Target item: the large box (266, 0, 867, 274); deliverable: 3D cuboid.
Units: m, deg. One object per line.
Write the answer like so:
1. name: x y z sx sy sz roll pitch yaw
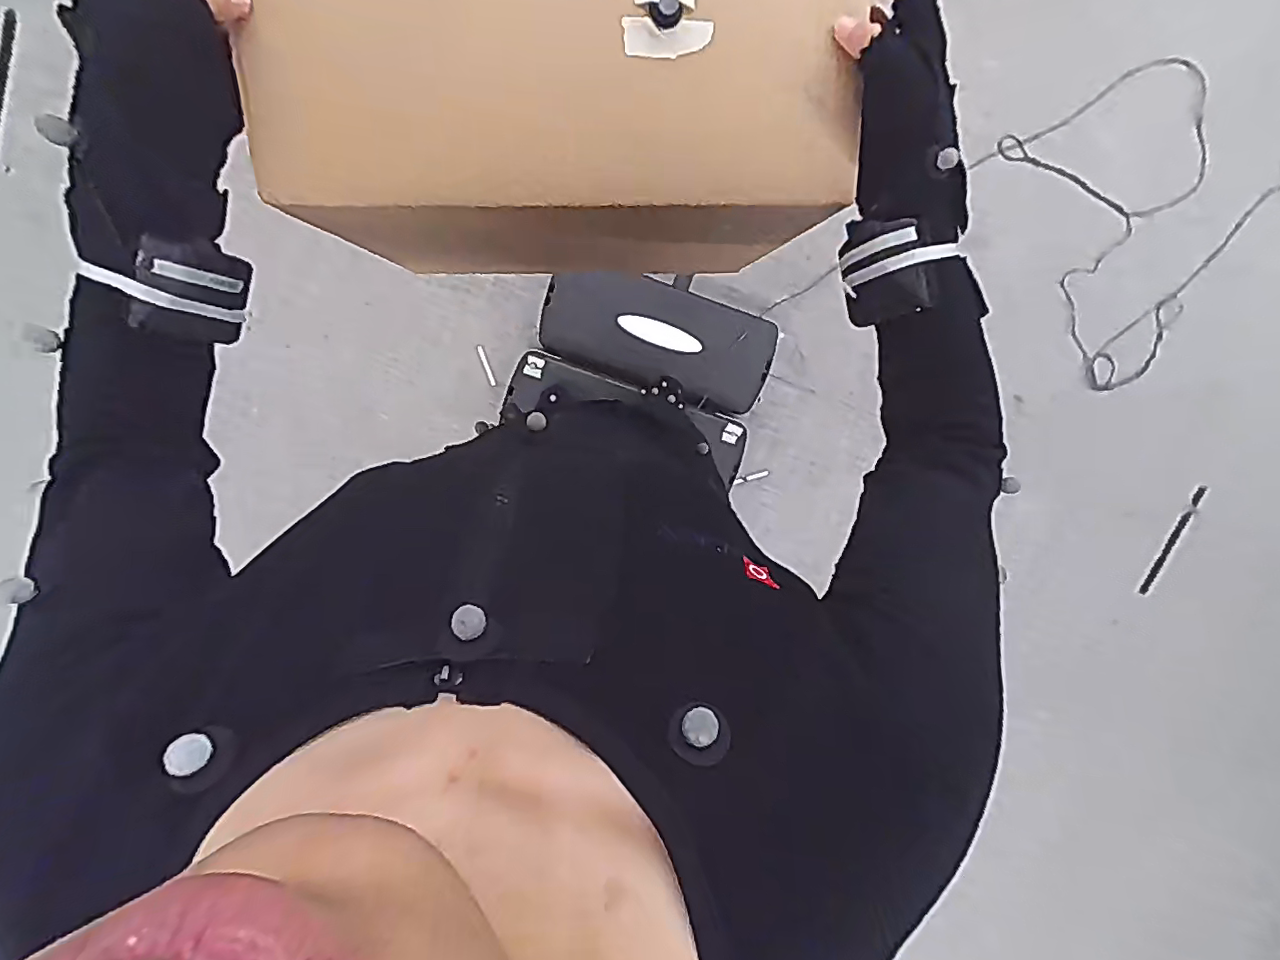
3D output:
1. large box: -0.056 -0.379 0.496 0.408 0.320 0.320 -2 103 -5

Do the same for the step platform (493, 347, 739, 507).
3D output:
1. step platform: -0.065 -0.149 1.558 0.684 0.204 0.286 17 98 -5
